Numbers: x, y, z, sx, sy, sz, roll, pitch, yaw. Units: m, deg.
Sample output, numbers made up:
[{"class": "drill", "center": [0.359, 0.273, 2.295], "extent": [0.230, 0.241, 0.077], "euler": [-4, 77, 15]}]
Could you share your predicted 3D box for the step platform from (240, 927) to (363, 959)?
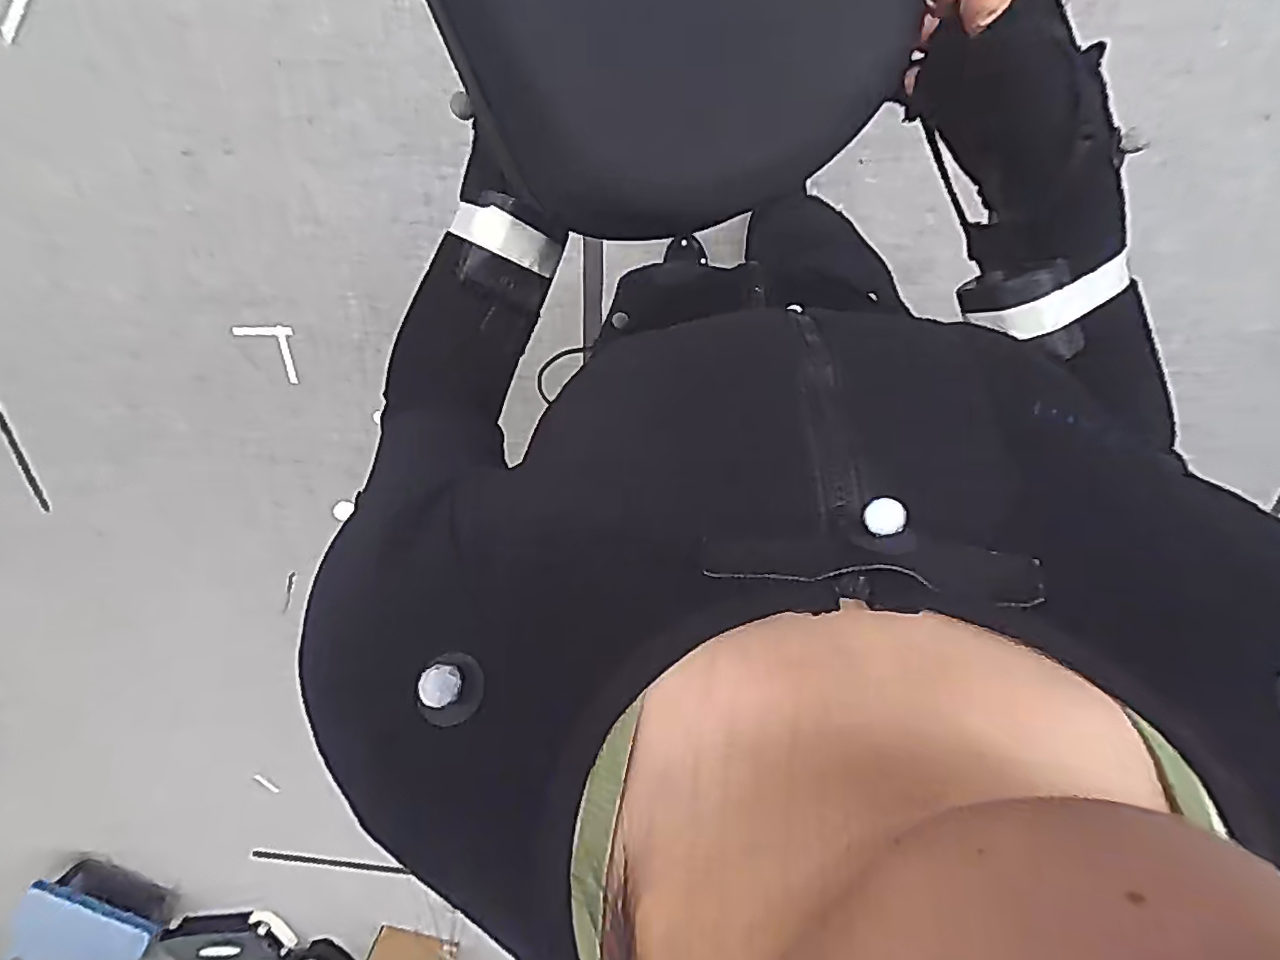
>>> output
[{"class": "step platform", "center": [-1.840, 2.603, 2.865], "extent": [0.684, 0.204, 0.286], "euler": [-24, 111, 15]}]
